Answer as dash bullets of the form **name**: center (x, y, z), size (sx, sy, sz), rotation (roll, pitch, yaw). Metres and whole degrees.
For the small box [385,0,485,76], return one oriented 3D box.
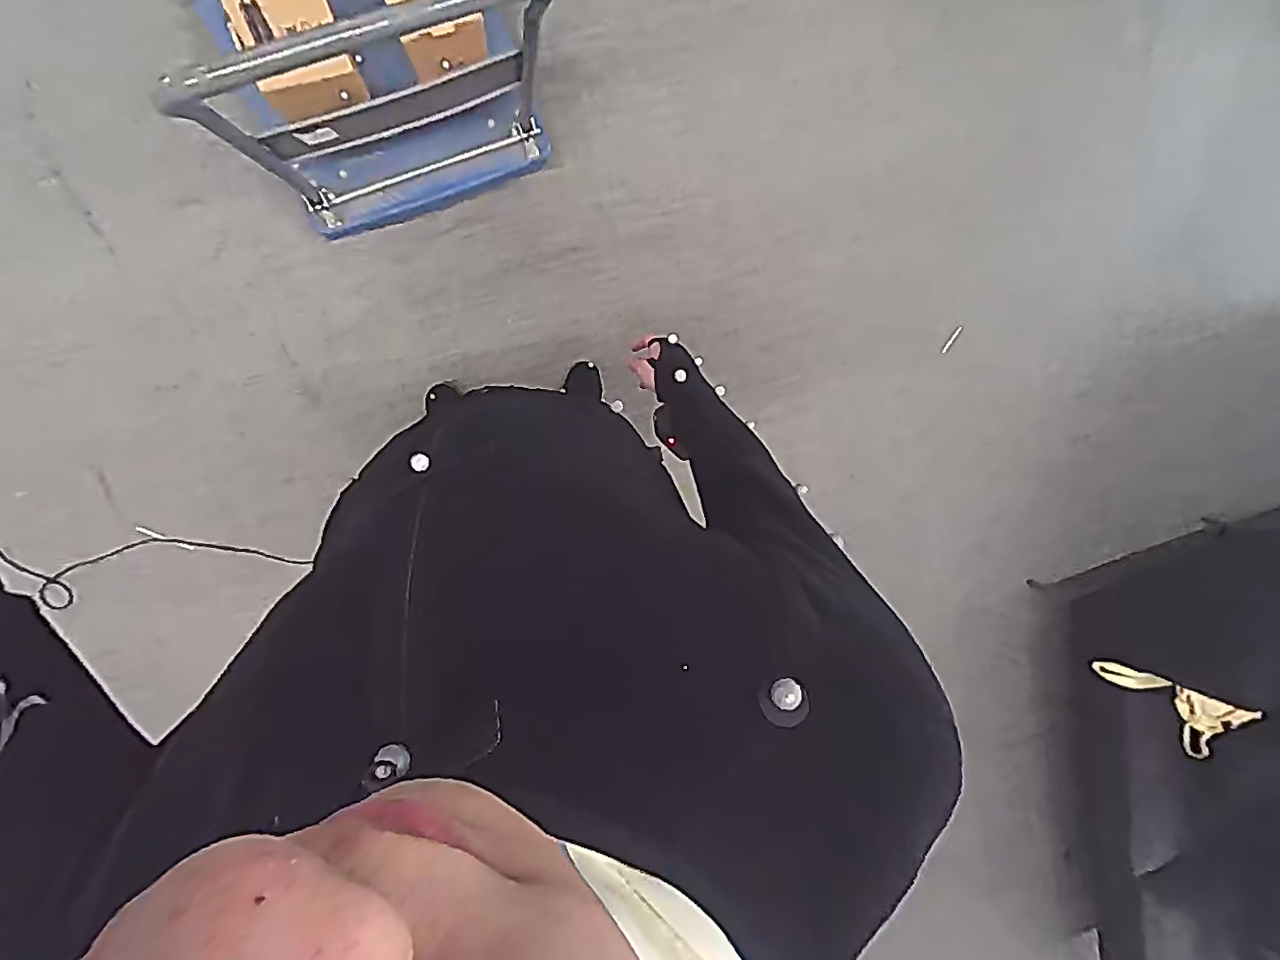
- **small box**: center (-0.426, -0.972, 1.093), size (0.168, 0.176, 0.179), rotation (-22, 107, -6)
